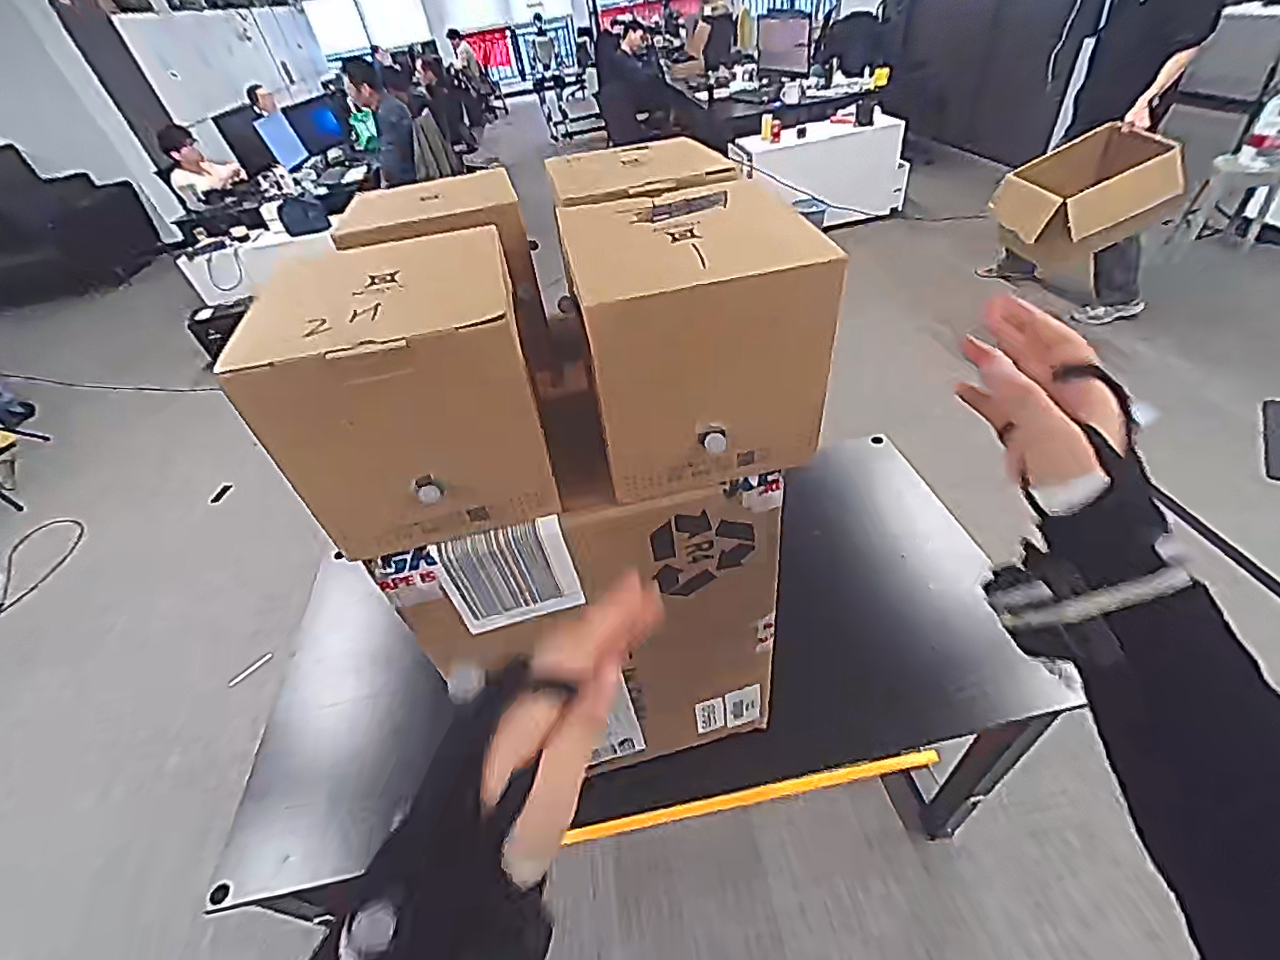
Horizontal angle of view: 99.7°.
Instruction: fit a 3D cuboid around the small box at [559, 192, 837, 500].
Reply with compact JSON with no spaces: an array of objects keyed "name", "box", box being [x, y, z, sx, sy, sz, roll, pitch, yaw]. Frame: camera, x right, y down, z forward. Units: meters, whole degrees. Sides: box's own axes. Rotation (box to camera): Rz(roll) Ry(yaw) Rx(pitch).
[{"name":"small box","box":[0.035,-0.111,0.441,0.168,0.176,0.179,-12,43,-4]}]
